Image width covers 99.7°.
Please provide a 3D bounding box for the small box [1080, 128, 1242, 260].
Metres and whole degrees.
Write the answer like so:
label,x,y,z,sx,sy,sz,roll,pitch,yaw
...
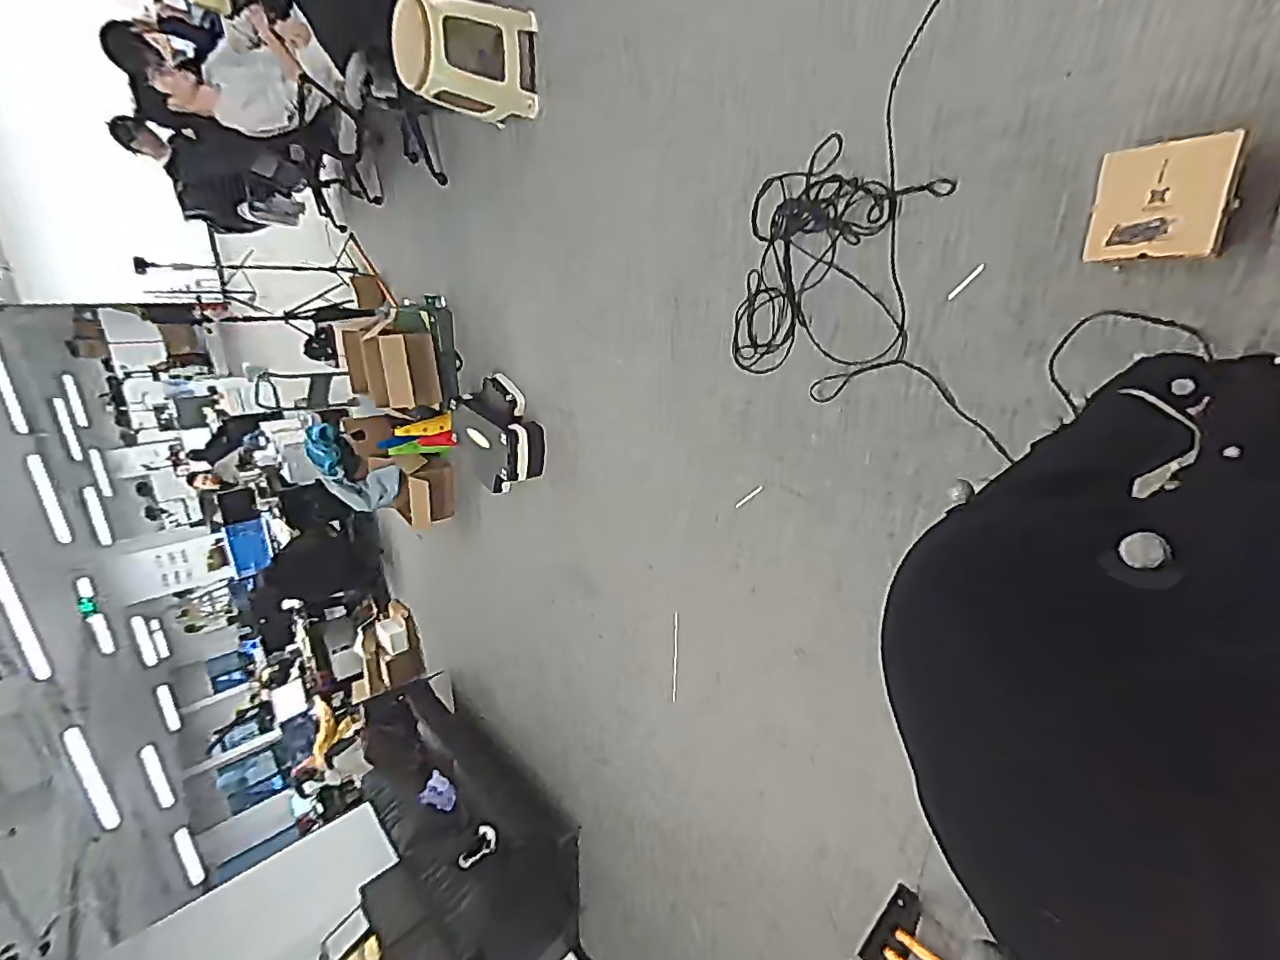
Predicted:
label,x,y,z,sx,sy,sz,roll,pitch,yaw
small box,0.903,-0.480,0.937,0.168,0.176,0.179,17,115,45
